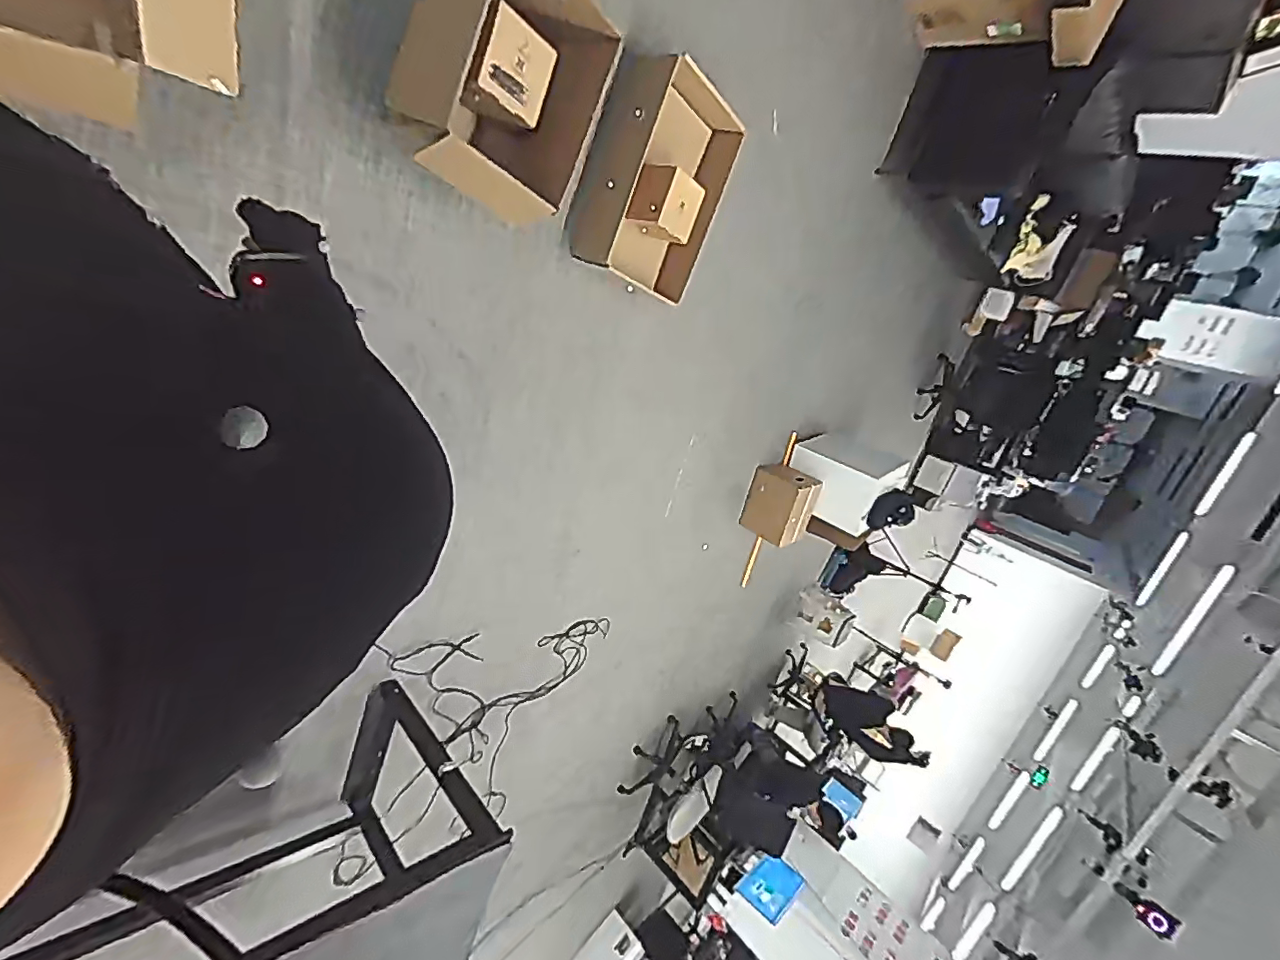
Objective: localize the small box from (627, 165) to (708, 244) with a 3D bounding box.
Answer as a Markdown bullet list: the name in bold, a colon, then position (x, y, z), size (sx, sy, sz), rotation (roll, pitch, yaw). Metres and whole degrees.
- **small box**: position (0.085, -0.895, 1.752), size (0.168, 0.176, 0.179), rotation (6, 110, -52)
